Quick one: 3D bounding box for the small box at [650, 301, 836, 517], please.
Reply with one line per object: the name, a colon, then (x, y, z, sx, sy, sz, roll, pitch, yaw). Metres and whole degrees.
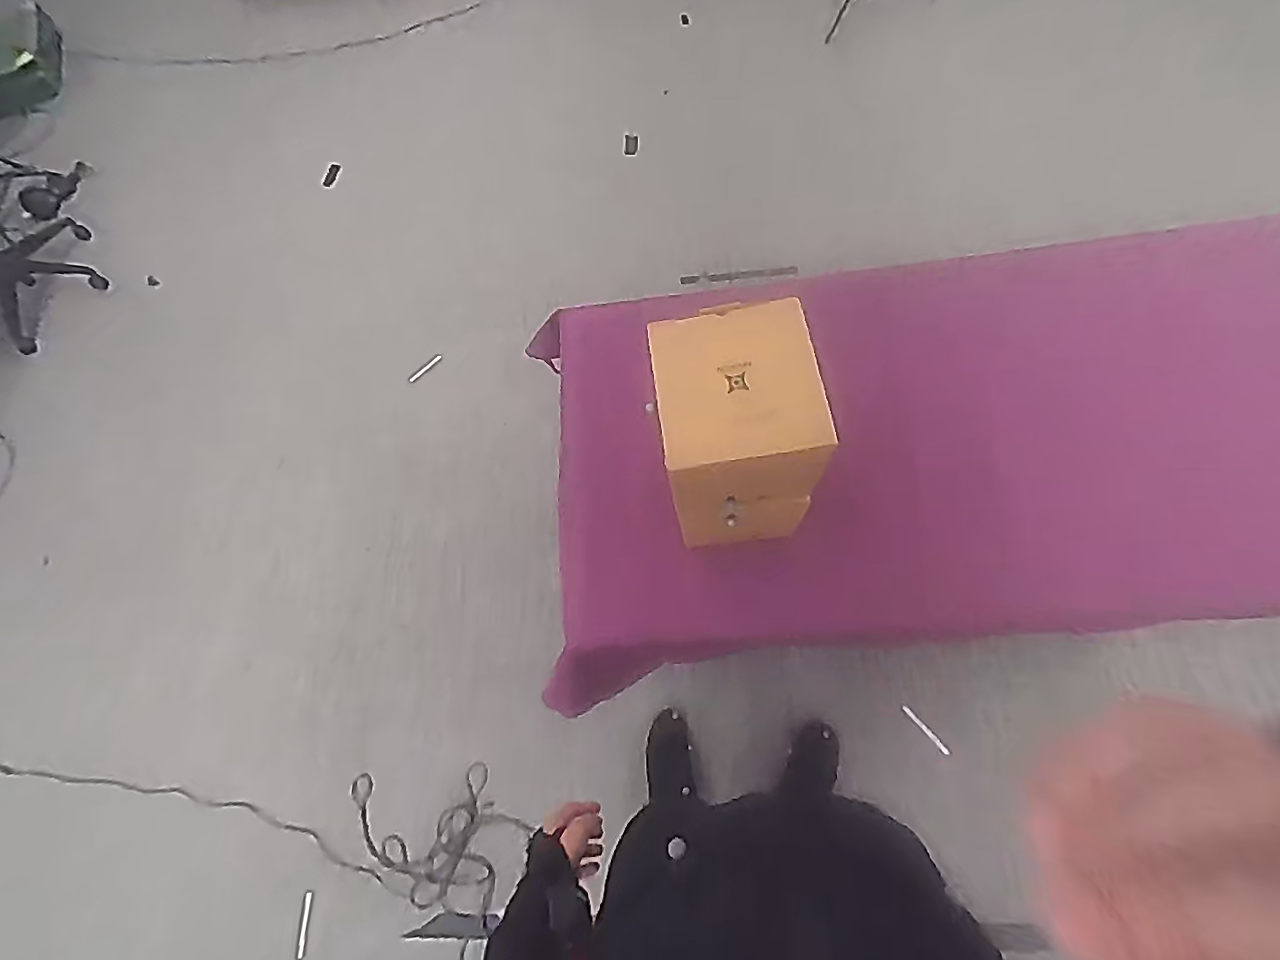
small box: (0.107, -0.071, 0.621, 0.168, 0.176, 0.179, -9, 69, 5)

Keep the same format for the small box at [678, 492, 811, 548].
small box: (0.133, -0.014, 0.772, 0.168, 0.176, 0.179, -7, 69, 6)
